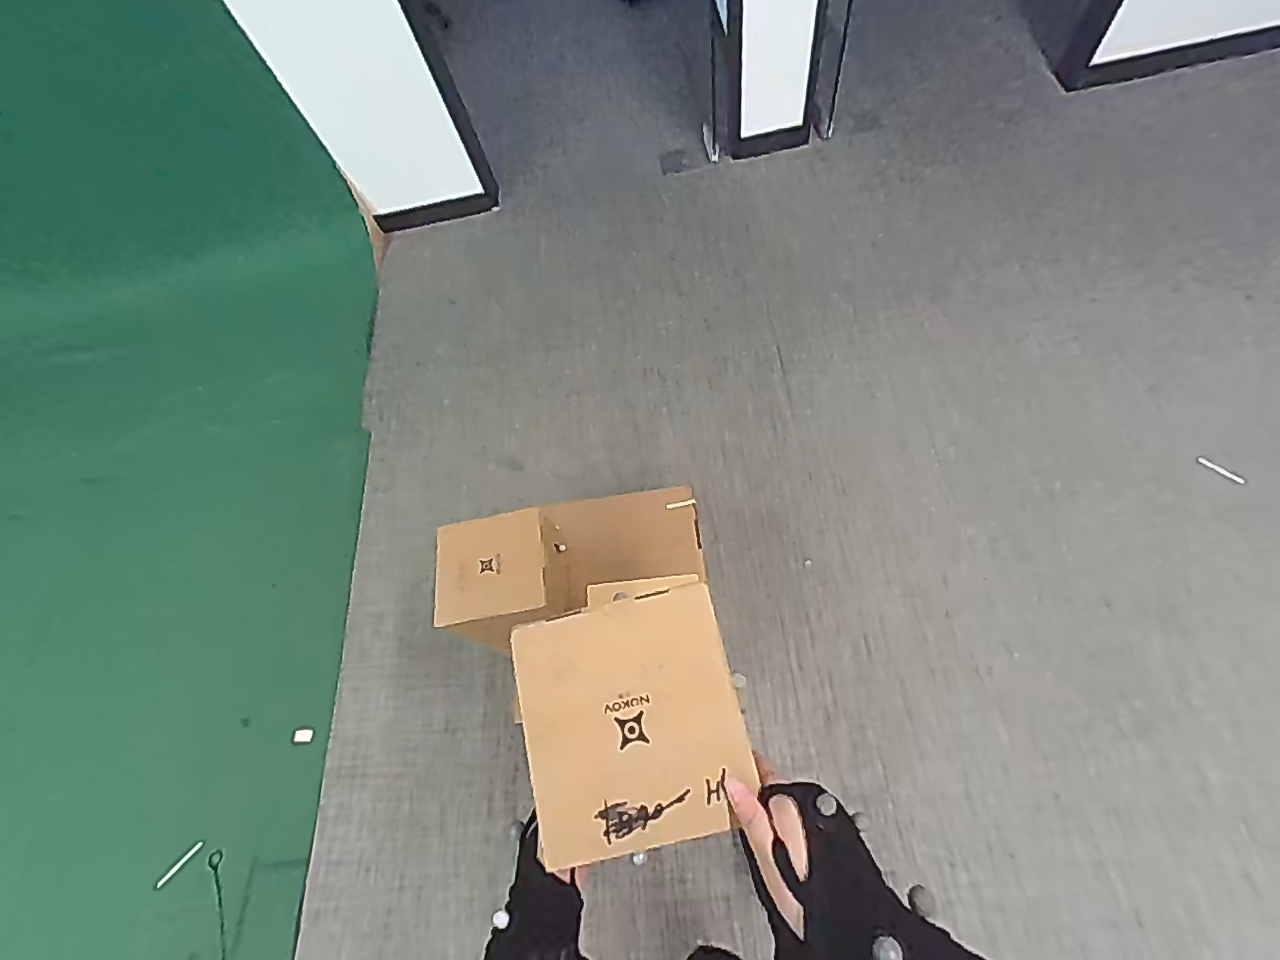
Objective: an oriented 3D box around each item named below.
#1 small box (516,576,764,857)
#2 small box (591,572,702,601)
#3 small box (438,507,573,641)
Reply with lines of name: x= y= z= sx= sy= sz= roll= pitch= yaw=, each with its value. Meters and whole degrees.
small box: x=0.002 y=0.200 z=0.491 sx=0.168 sy=0.176 sz=0.179 roll=-14 pitch=72 yaw=3
small box: x=0.023 y=0.253 z=0.819 sx=0.168 sy=0.176 sz=0.179 roll=-7 pitch=65 yaw=5
small box: x=-0.214 y=0.164 z=0.905 sx=0.179 sy=0.176 sz=0.168 roll=-11 pitch=62 yaw=6
